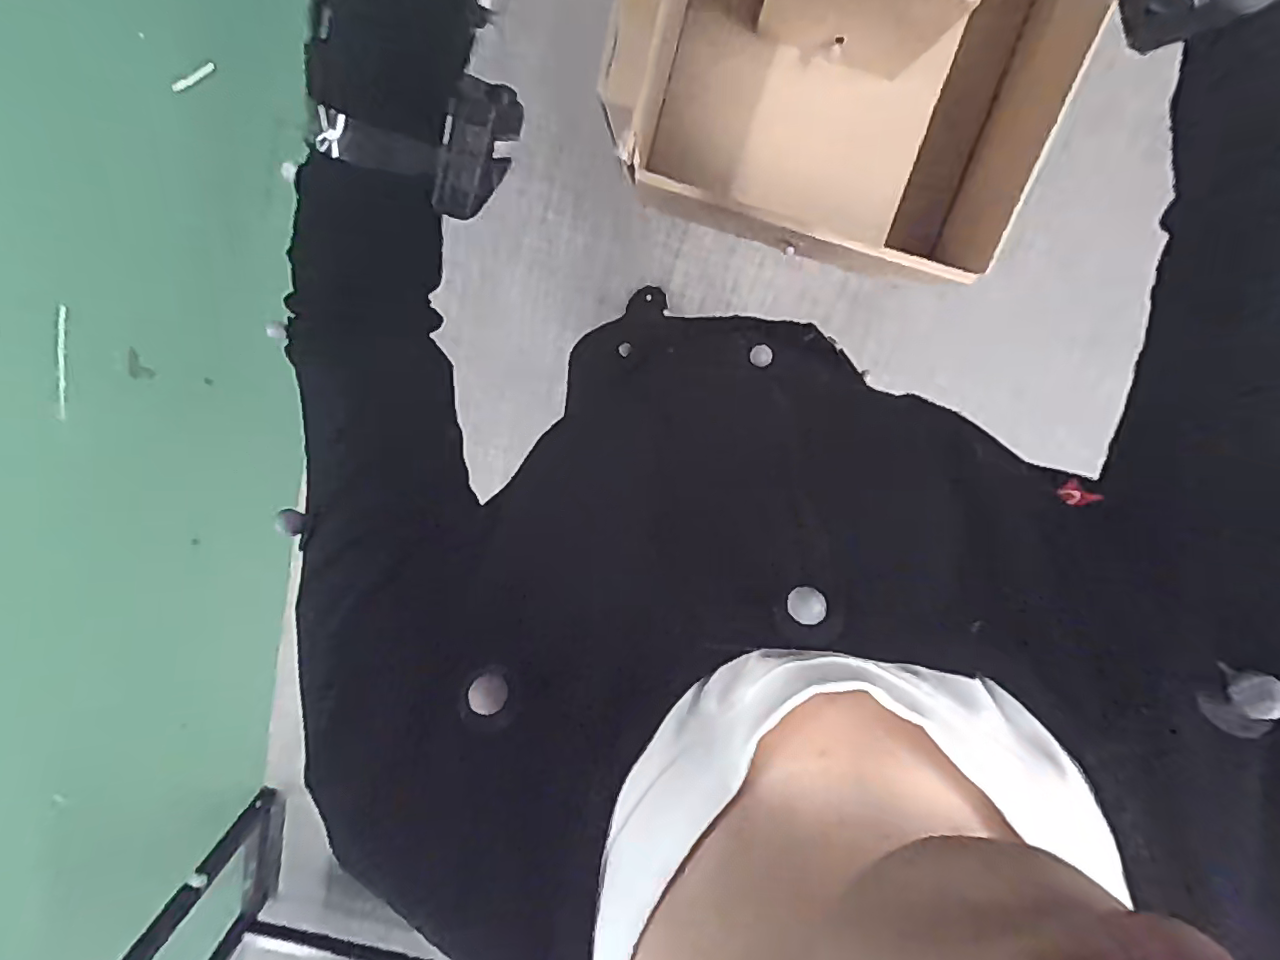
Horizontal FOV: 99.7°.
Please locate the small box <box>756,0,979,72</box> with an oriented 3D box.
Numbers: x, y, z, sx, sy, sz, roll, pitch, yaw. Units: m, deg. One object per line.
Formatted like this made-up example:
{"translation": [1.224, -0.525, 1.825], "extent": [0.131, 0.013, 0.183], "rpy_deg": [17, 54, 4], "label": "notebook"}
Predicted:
{"translation": [0.231, -0.530, 0.514], "extent": [0.179, 0.176, 0.168], "rpy_deg": [15, 106, -5], "label": "small box"}
